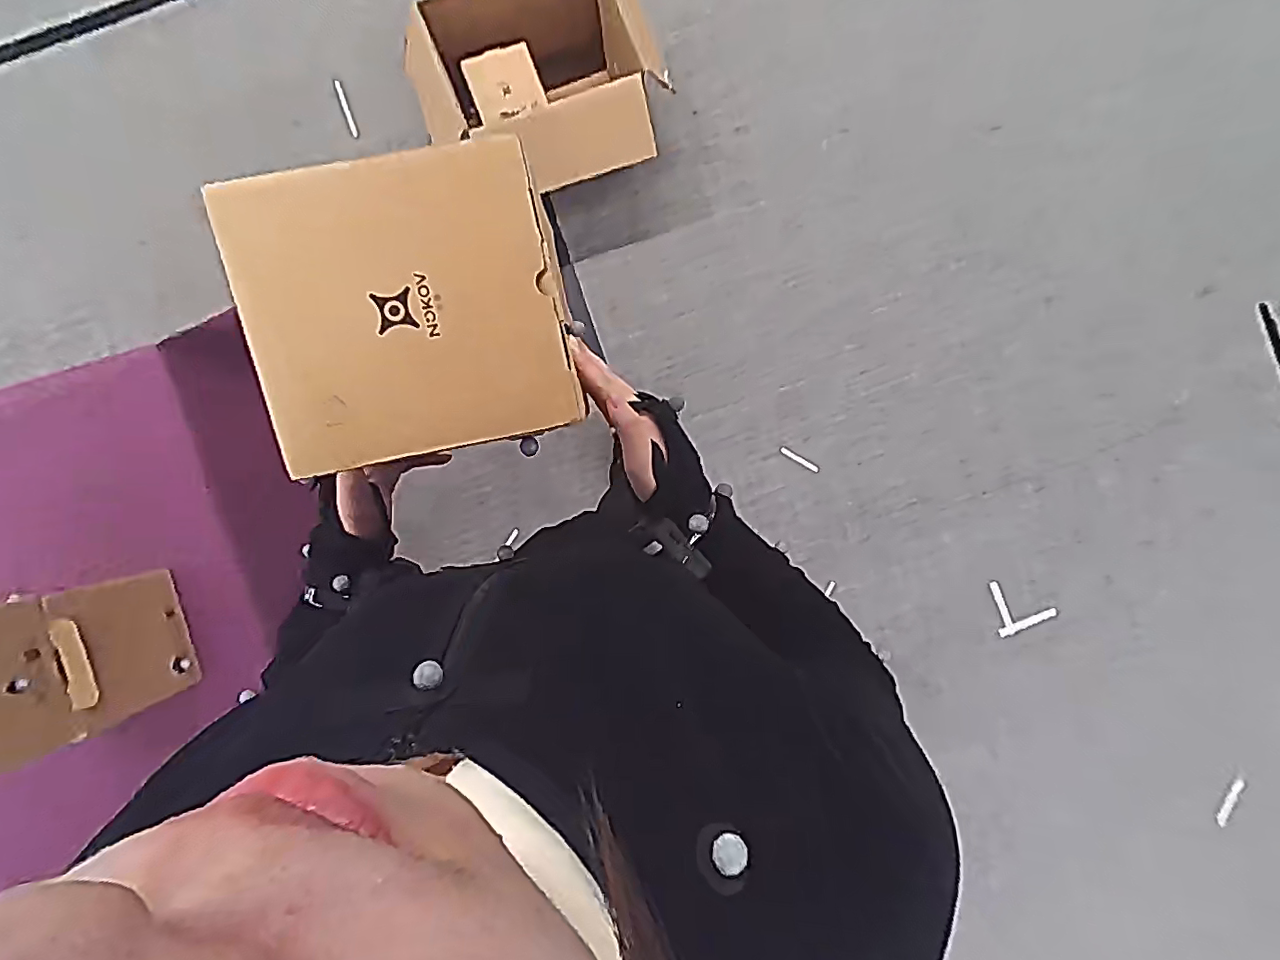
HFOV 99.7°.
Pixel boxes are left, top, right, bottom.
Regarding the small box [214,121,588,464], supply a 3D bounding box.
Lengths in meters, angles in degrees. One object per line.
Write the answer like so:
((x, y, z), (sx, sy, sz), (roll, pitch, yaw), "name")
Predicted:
((-0.137, -0.113, 0.385), (0.179, 0.176, 0.168), (-13, 98, -4), "small box")

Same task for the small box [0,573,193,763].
((-0.713, 0.227, 0.676), (0.179, 0.176, 0.168), (-16, 92, 0), "small box")
